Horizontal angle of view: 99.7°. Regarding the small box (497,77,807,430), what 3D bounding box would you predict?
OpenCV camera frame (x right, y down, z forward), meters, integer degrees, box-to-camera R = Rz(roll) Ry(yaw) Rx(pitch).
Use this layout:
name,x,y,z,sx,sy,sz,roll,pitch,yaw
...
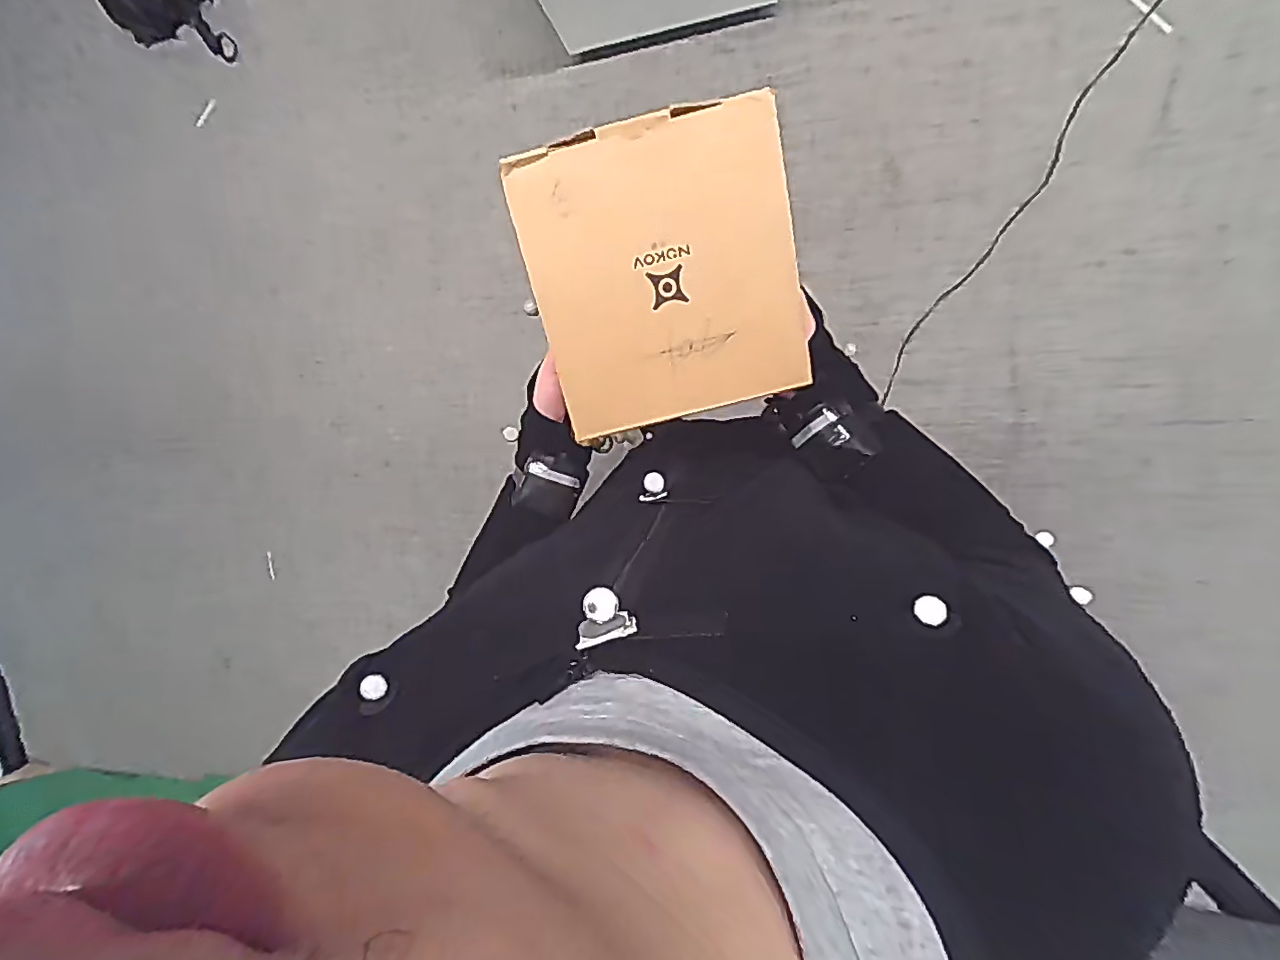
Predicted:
name,x,y,z,sx,sy,sz,roll,pitch,yaw
small box,0.009,-0.156,0.409,0.168,0.176,0.179,-14,110,2
